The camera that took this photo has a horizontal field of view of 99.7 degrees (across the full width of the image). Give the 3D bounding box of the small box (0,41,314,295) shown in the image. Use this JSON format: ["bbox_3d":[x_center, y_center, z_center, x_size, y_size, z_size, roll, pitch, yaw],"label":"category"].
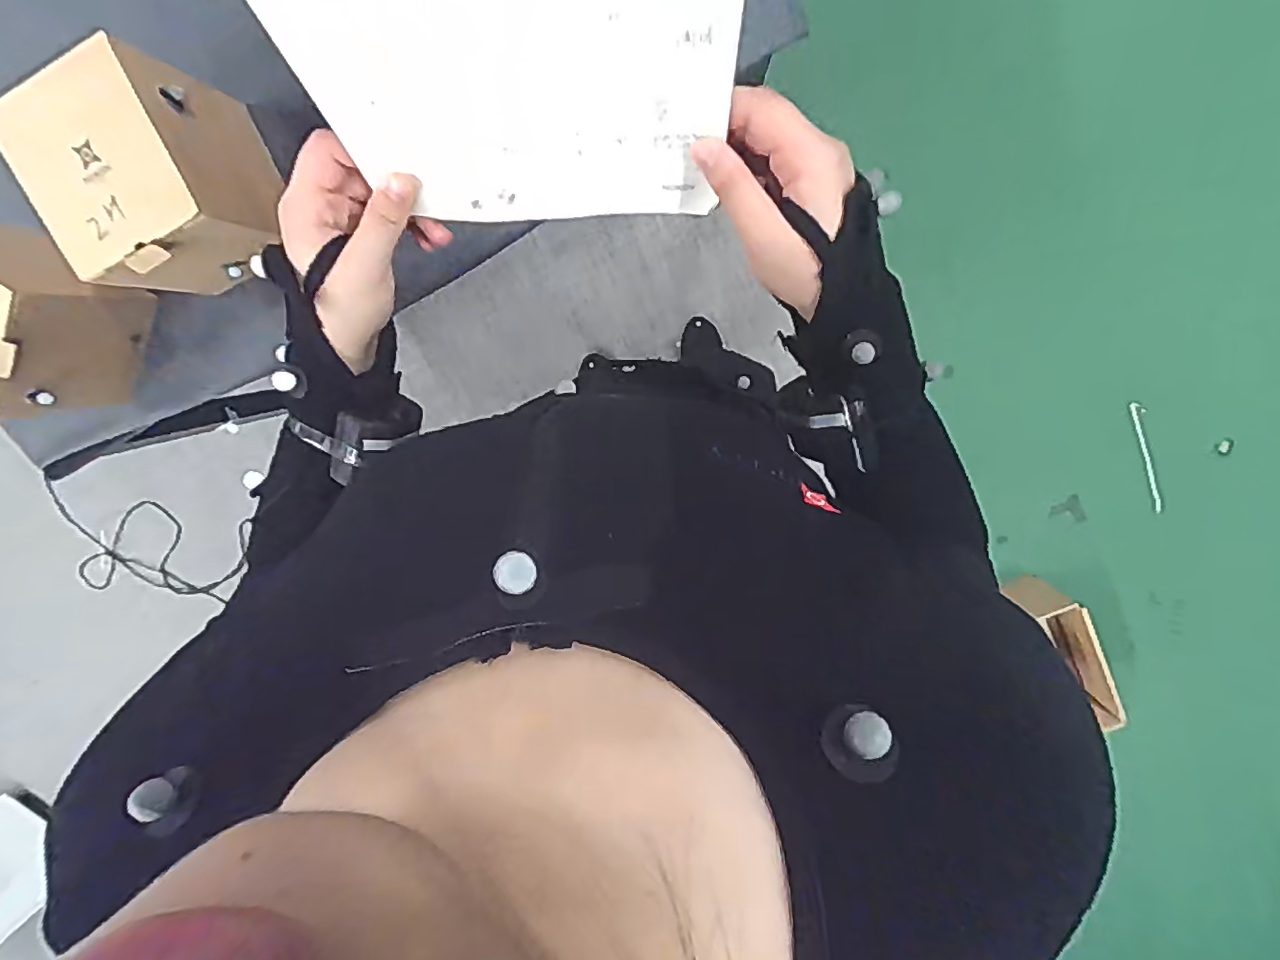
[{"bbox_3d":[-0.527,-0.329,0.616,0.168,0.176,0.179,-21,102,11],"label":"small box"}]
